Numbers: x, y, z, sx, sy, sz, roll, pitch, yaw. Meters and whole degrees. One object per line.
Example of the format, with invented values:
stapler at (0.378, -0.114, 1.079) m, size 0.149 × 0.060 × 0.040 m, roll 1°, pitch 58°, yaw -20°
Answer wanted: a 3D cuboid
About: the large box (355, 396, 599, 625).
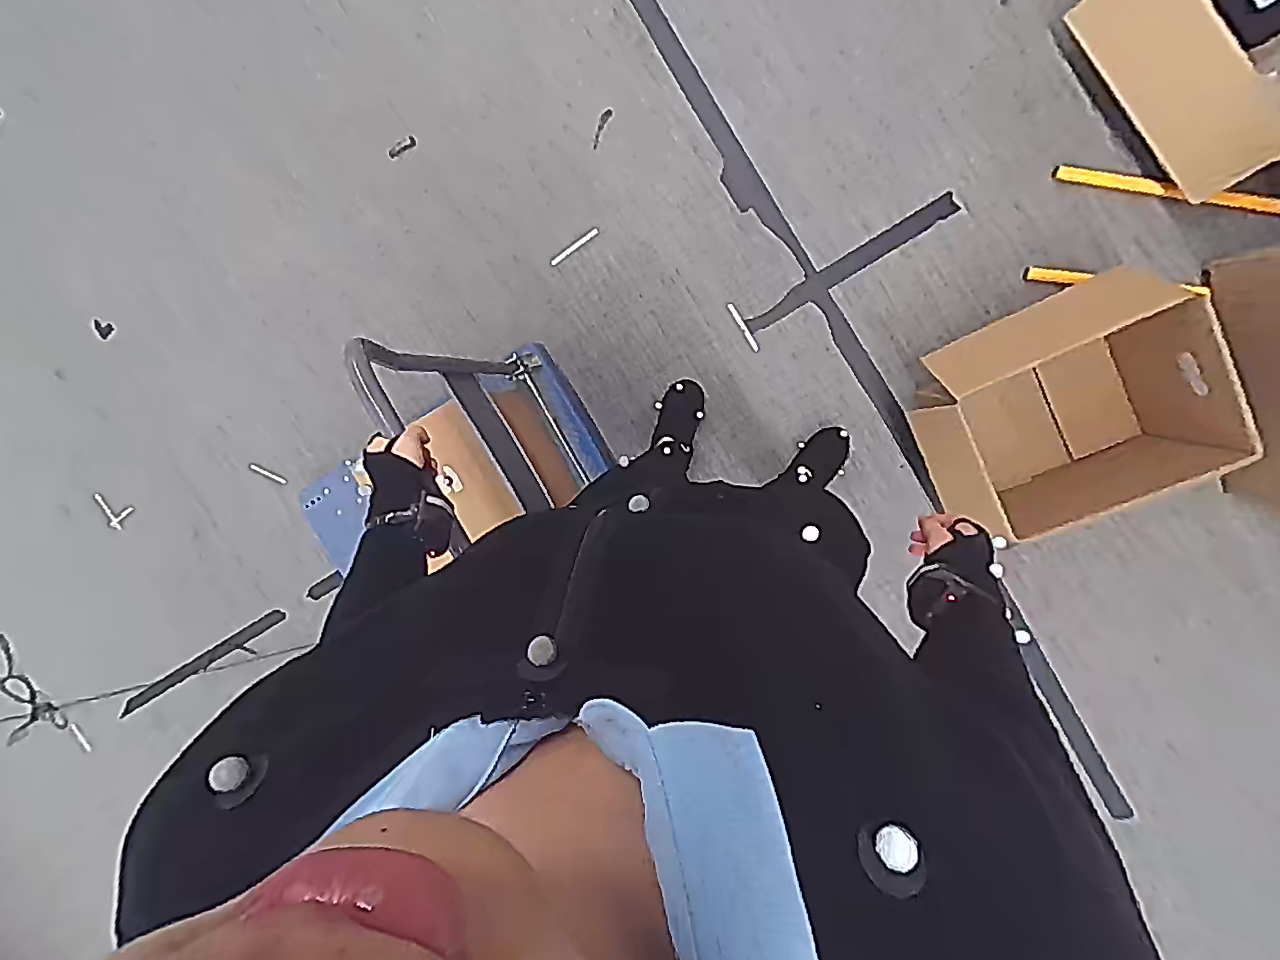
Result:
large box at (-0.353, 0.053, 1.265) m, size 0.320 × 0.320 × 0.408 m, roll -28°, pitch 93°, yaw 16°
